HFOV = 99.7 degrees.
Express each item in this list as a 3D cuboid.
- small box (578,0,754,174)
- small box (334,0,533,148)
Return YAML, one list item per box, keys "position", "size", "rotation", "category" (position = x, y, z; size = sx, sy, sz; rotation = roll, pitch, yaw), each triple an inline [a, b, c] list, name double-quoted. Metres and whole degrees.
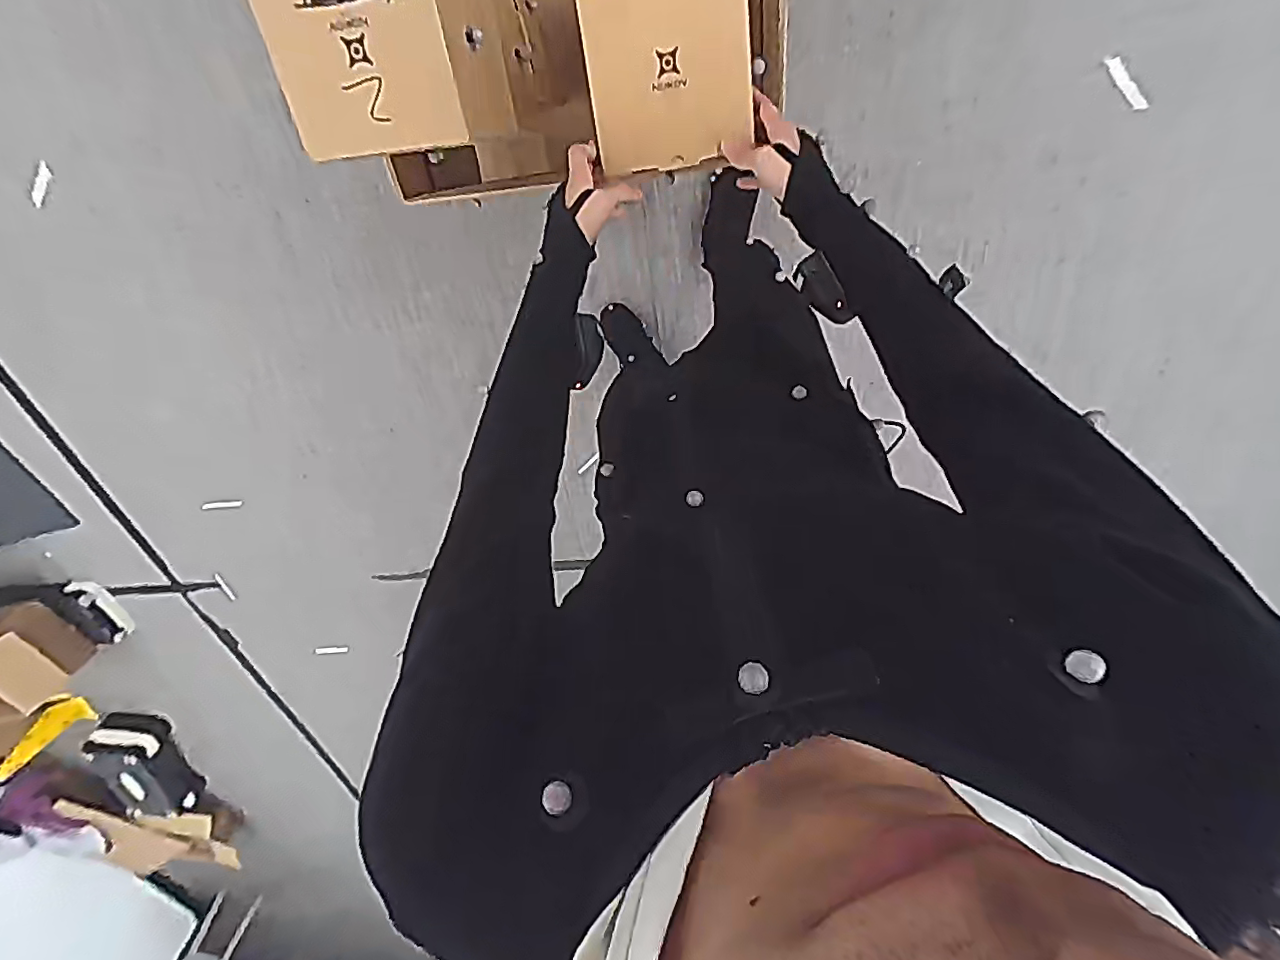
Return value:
- position: [0.032, -0.459, 0.609]
  size: [0.168, 0.176, 0.179]
  rotation: [-6, 118, 8]
  category: "small box"
- position: [-0.244, -0.526, 0.677]
  size: [0.168, 0.176, 0.179]
  rotation: [-4, 122, 6]
  category: "small box"
